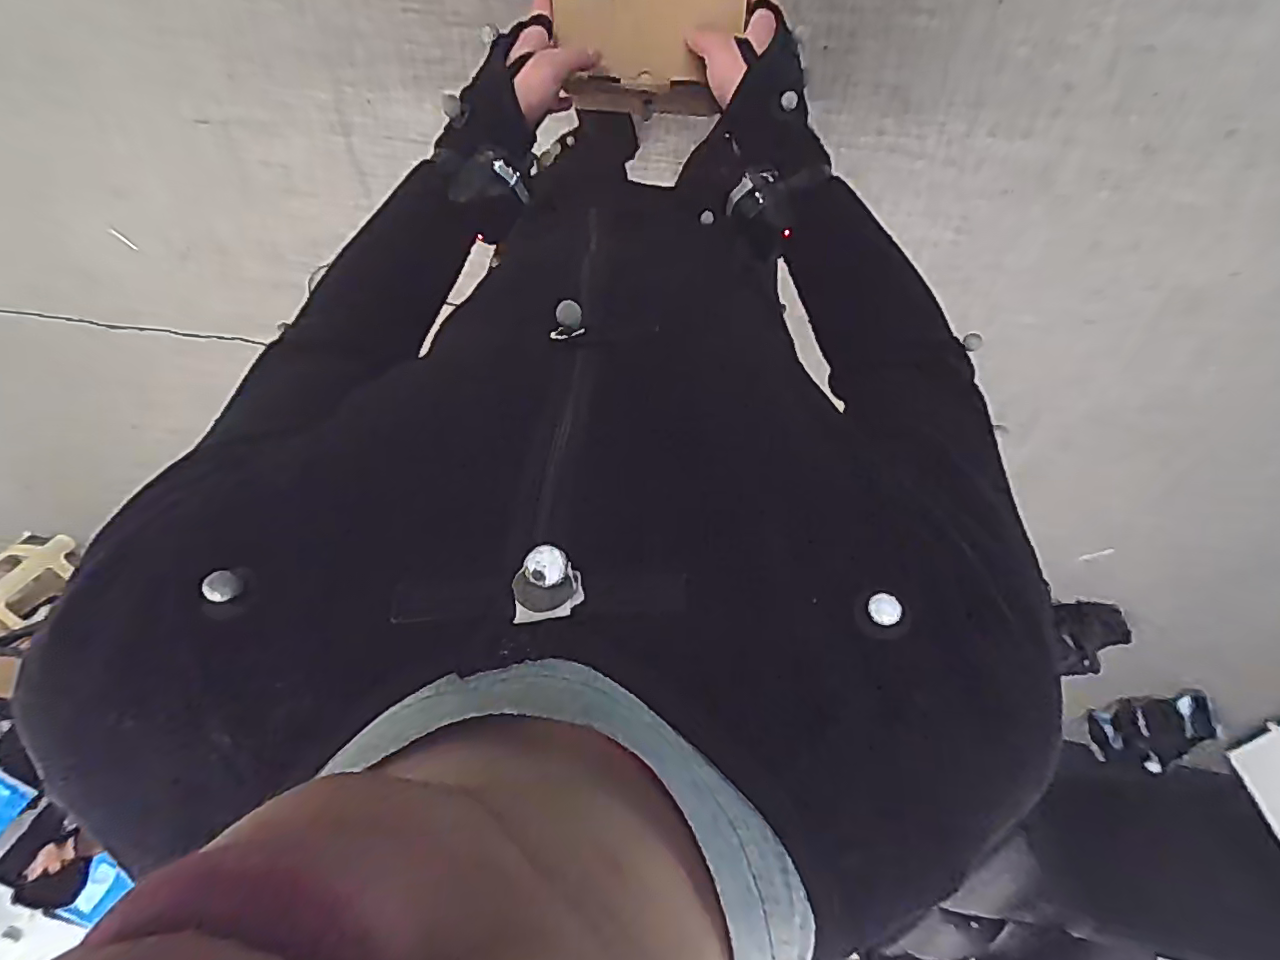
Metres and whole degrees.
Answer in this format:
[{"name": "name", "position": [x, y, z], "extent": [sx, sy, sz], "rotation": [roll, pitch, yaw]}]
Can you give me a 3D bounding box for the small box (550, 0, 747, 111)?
[{"name": "small box", "position": [0.012, -0.456, 0.500], "extent": [0.168, 0.176, 0.179], "rotation": [3, 118, 0]}]
